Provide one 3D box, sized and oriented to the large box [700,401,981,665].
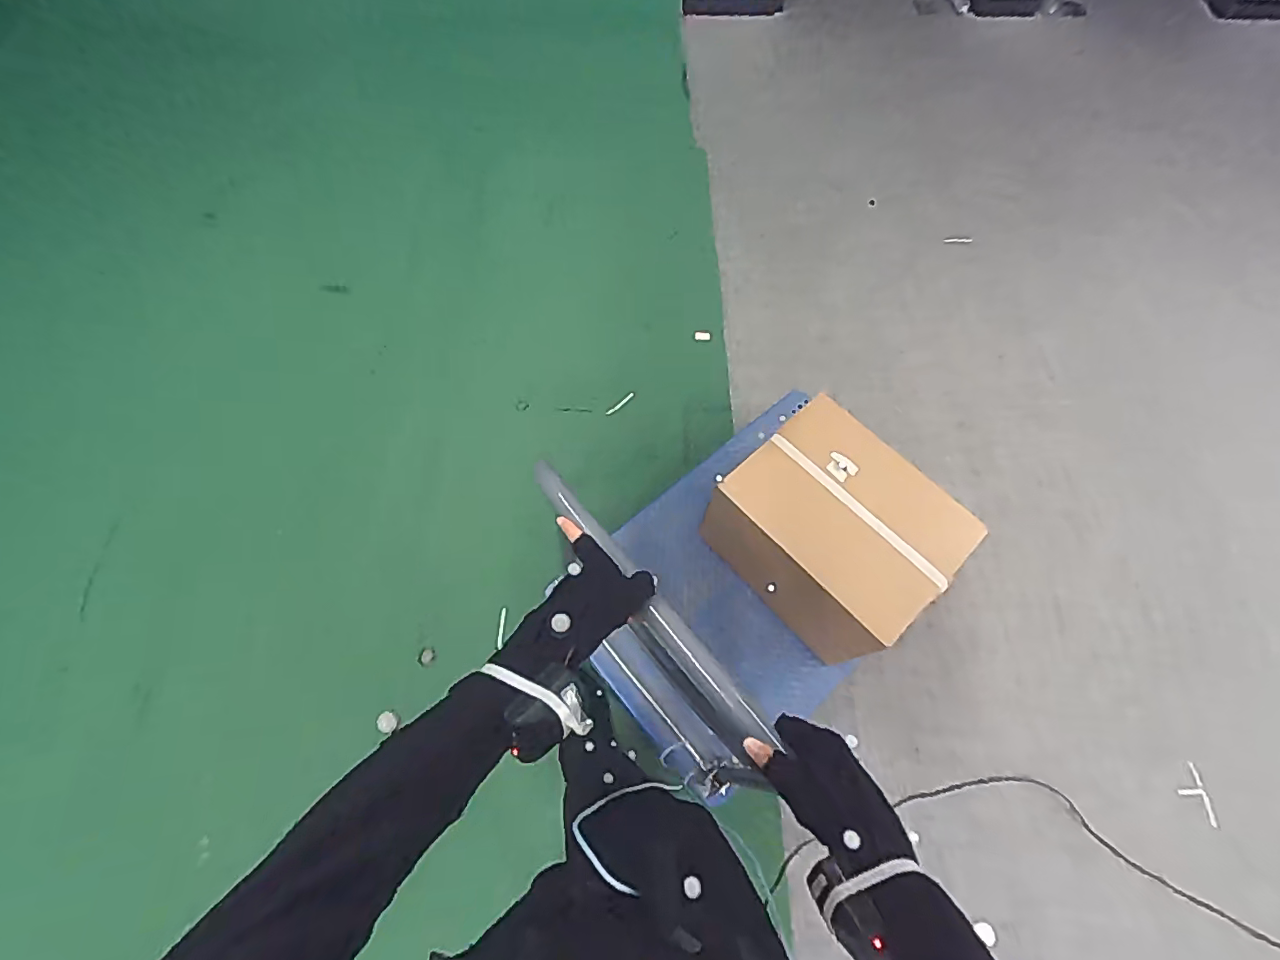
[{"bbox_3d":[0.382,0.121,1.138,0.320,0.320,0.408,-39,71,-17],"label":"large box"}]
